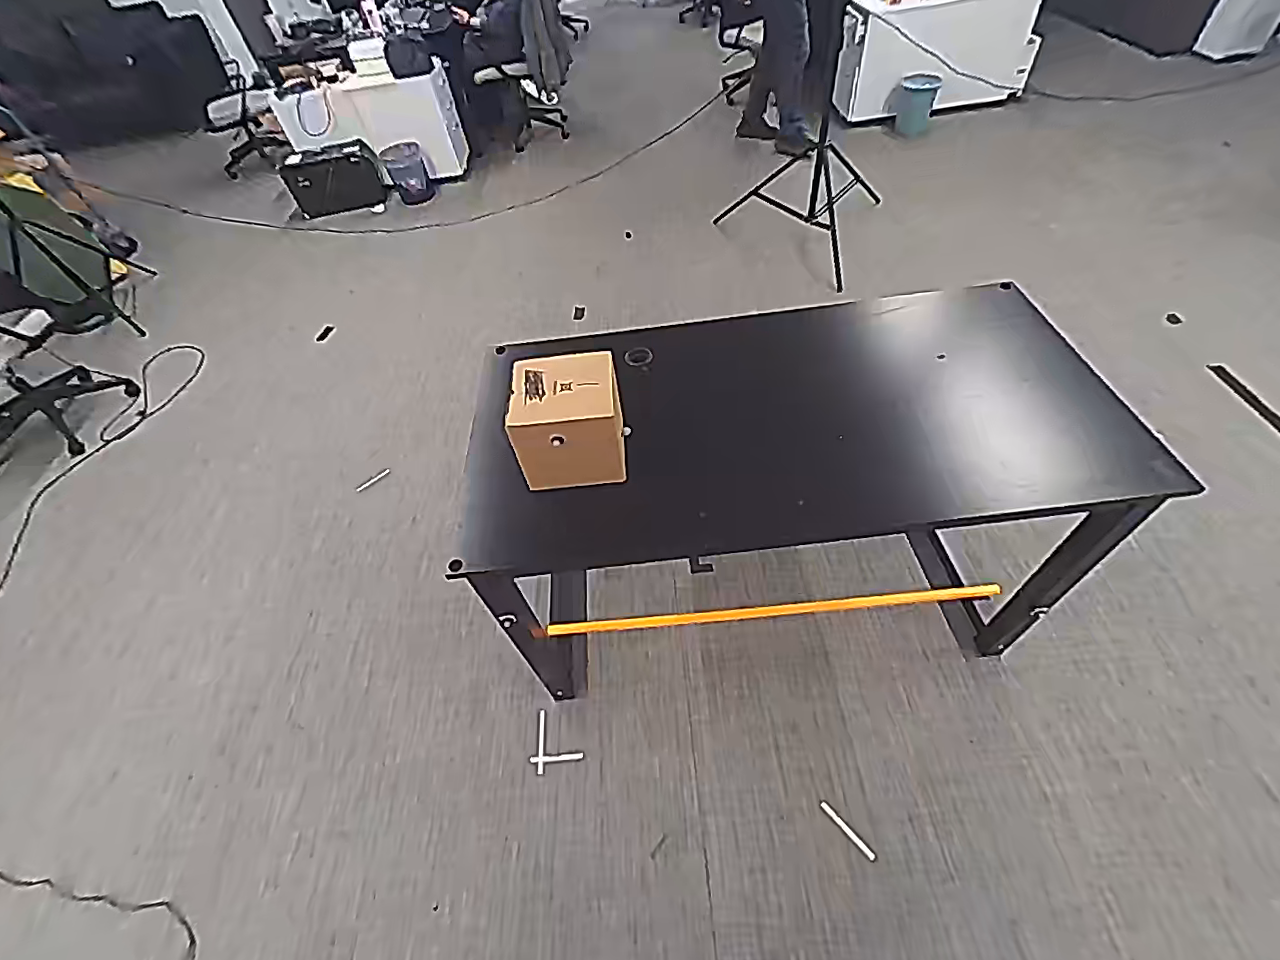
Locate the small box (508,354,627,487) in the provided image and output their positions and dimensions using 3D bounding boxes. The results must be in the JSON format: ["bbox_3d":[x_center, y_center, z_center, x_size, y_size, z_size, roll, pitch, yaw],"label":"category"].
[{"bbox_3d":[-0.120,-0.102,0.969,0.179,0.176,0.168,-5,51,2],"label":"small box"}]
